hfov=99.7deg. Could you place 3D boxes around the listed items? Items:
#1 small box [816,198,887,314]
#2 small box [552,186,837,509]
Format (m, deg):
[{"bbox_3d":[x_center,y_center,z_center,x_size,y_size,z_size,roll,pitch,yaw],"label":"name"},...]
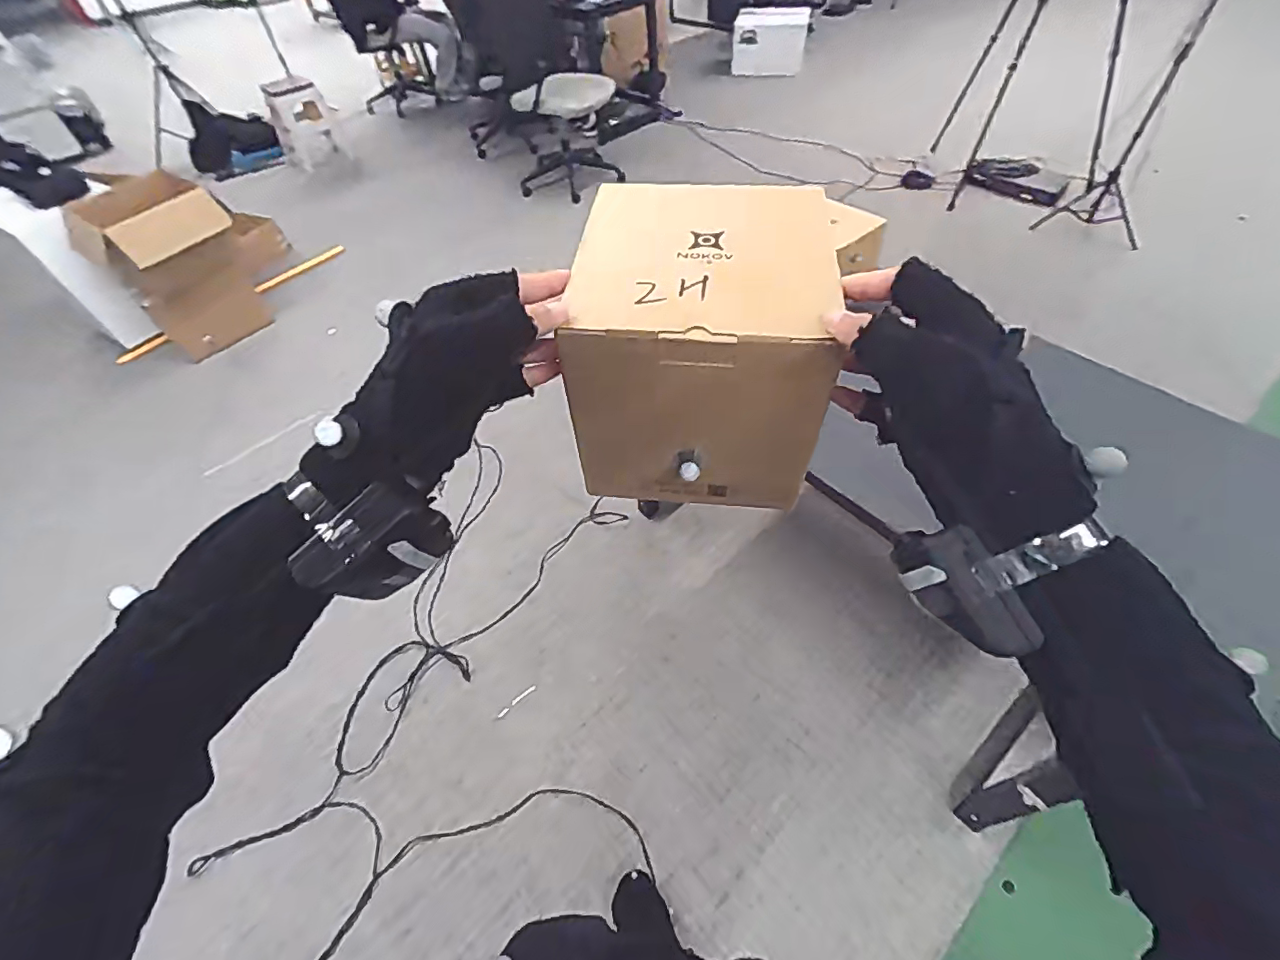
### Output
[{"bbox_3d":[0.397,-0.477,1.175,0.179,0.176,0.168,-35,57,-22],"label":"small box"},{"bbox_3d":[0.041,-0.099,0.418,0.168,0.176,0.179,3,55,6],"label":"small box"}]
